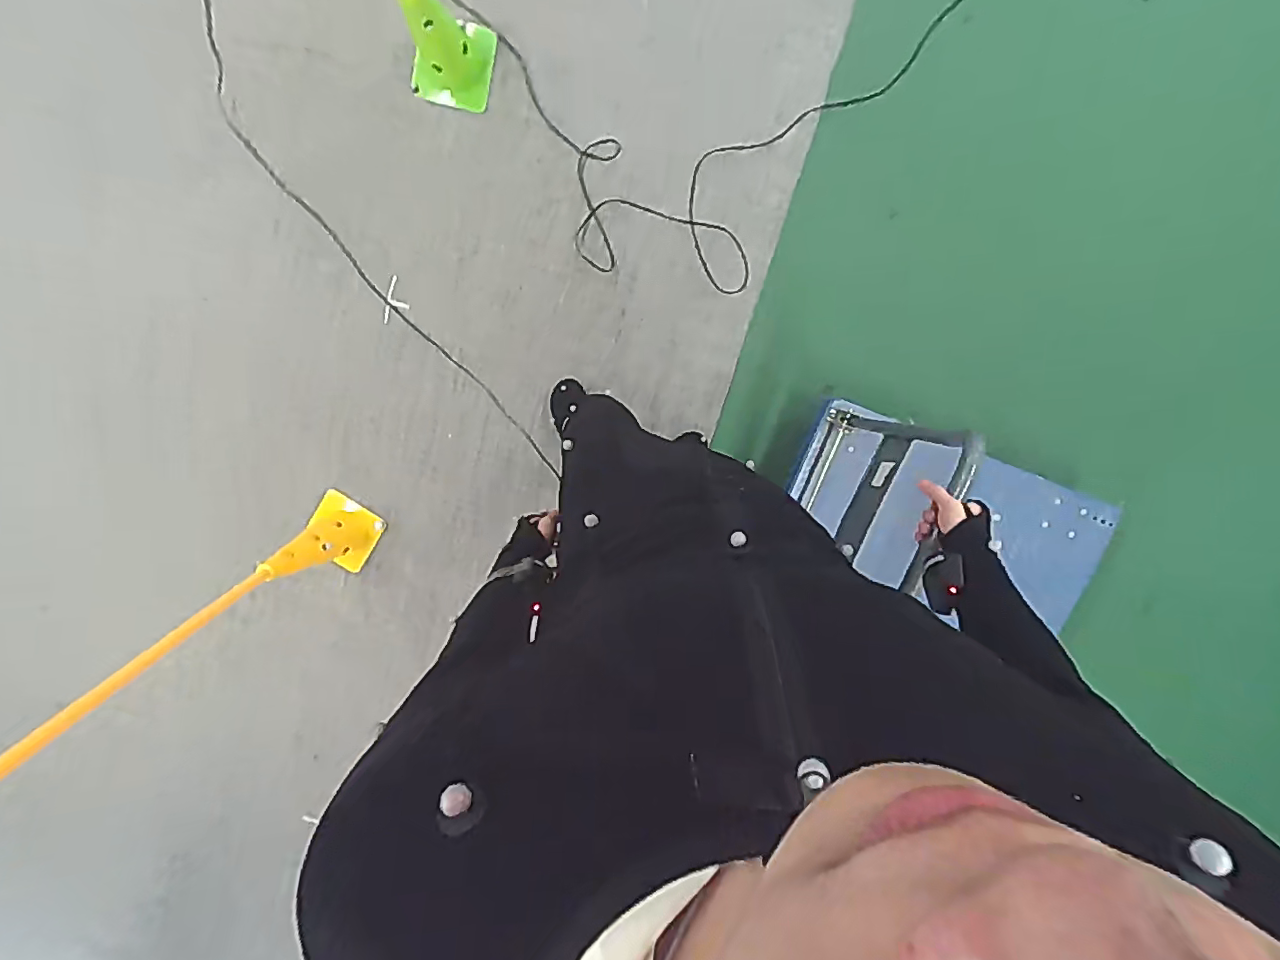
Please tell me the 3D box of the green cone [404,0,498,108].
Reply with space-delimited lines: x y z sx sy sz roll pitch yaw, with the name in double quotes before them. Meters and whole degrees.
"green cone" -0.477 -1.055 1.223 0.200 0.368 0.202 13 99 -2
